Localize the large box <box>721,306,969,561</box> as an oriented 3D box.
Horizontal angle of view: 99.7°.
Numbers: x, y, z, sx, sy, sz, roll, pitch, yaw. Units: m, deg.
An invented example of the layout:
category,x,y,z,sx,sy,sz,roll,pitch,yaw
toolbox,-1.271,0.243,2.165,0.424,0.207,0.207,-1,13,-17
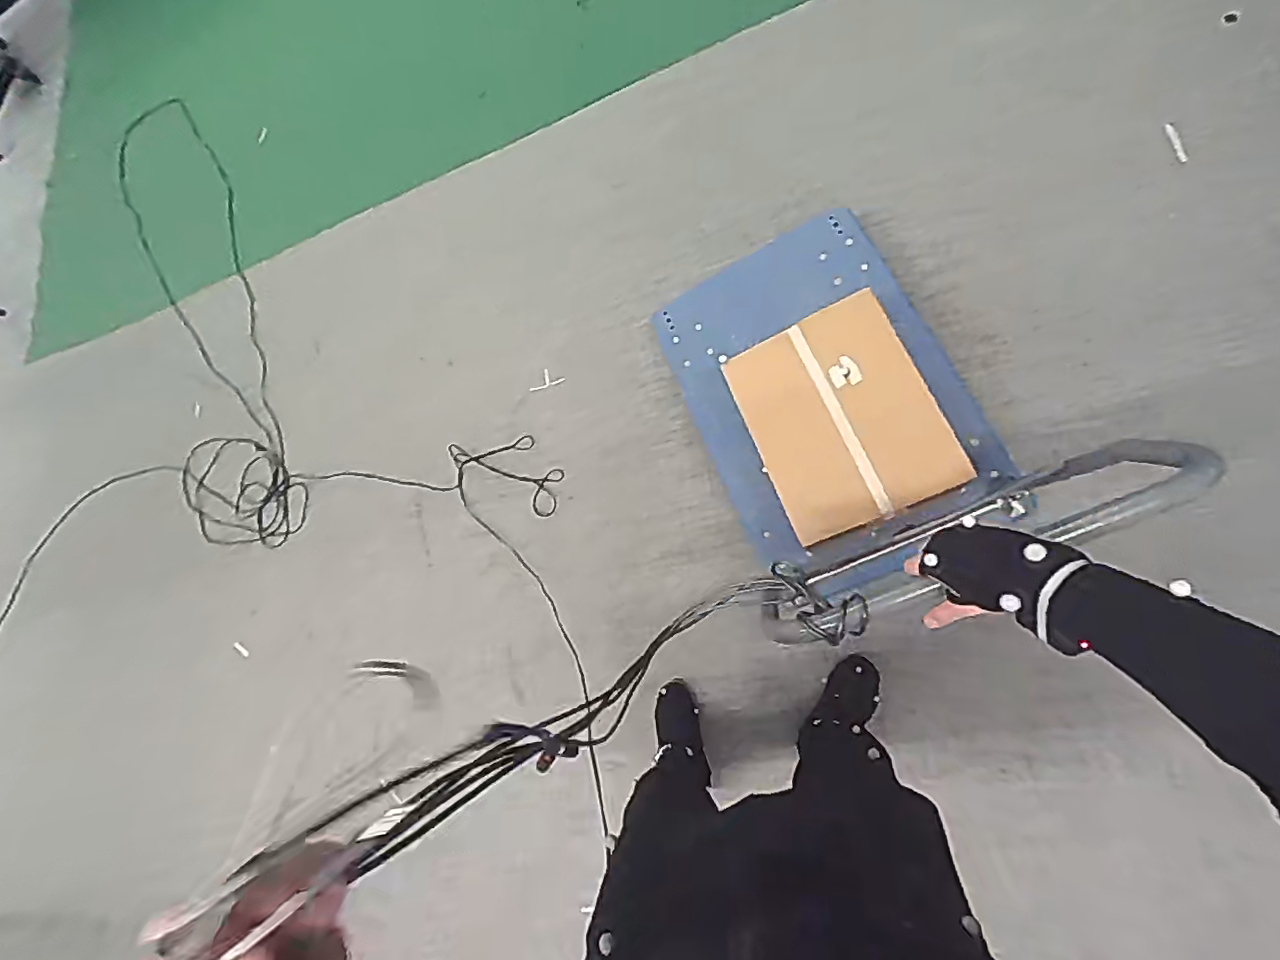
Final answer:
category,x,y,z,sx,sy,sz,roll,pitch,yaw
large box,0.420,-0.073,1.156,0.320,0.320,0.408,-25,71,15
